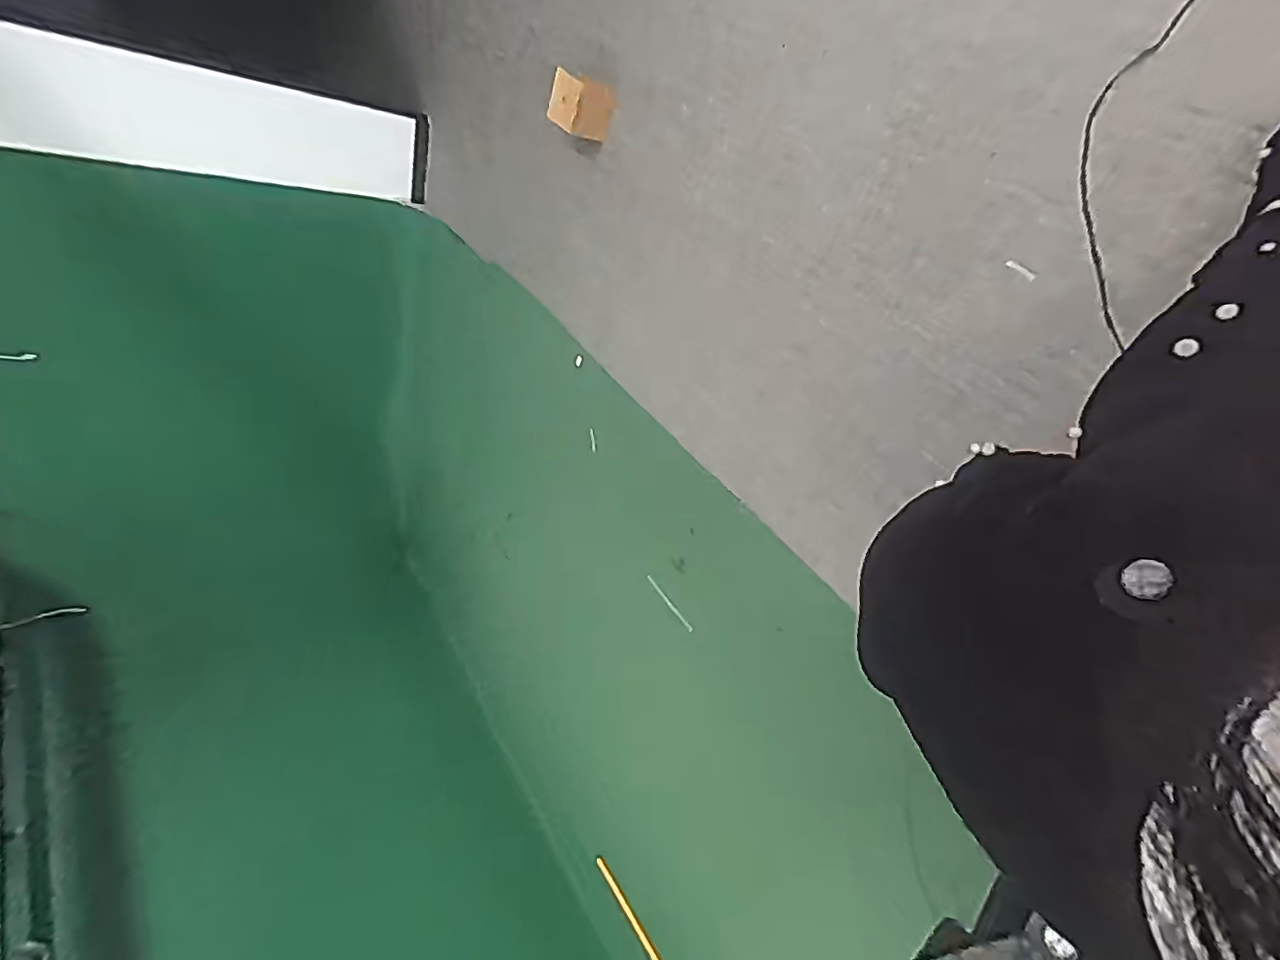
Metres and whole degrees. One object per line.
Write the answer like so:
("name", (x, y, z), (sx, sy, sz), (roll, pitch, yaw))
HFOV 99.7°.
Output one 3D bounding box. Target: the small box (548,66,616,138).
("small box", (-0.220, -1.427, 2.050), (0.179, 0.176, 0.168), (49, 134, 26))
